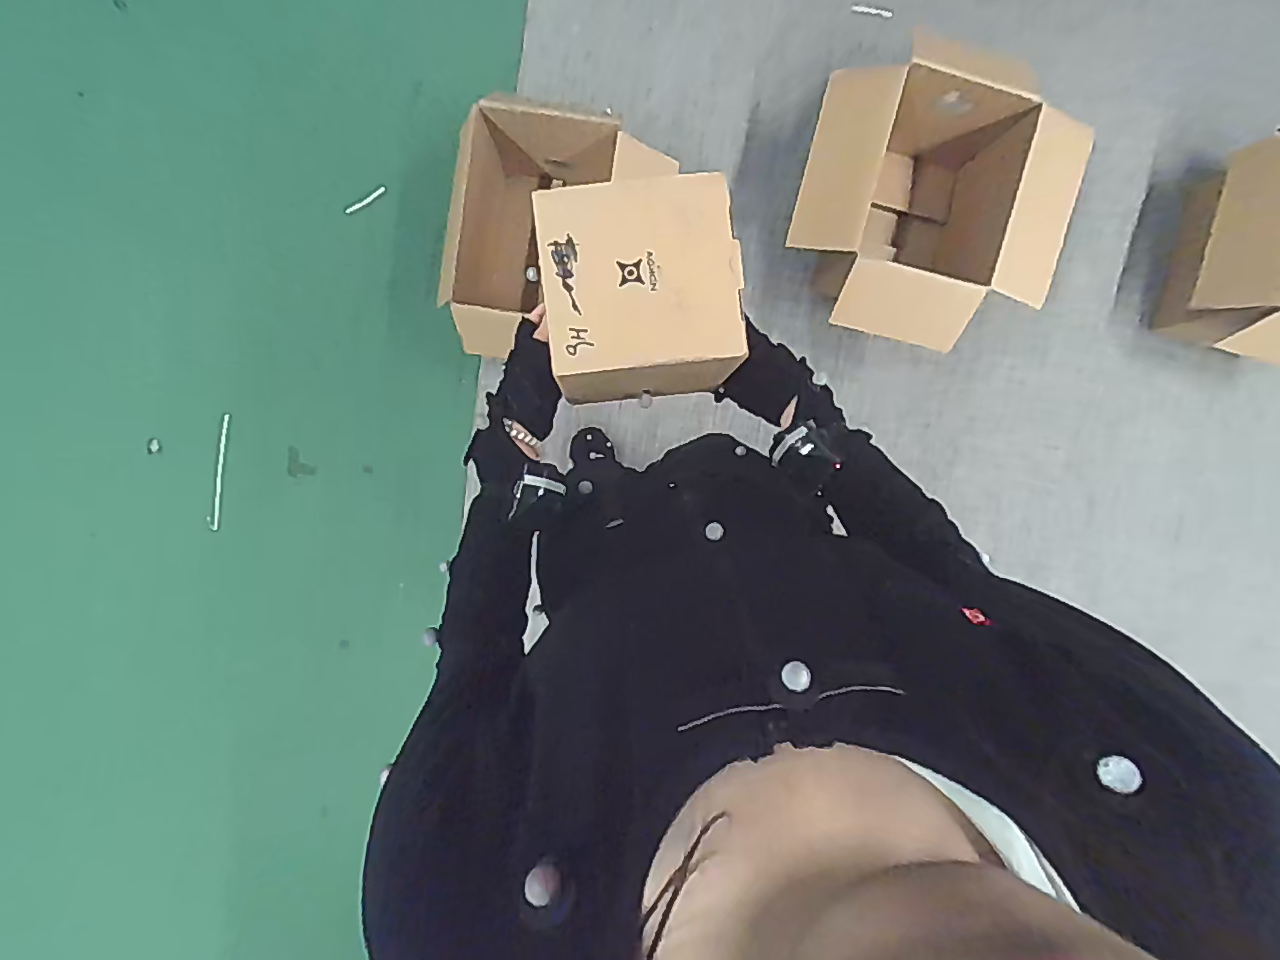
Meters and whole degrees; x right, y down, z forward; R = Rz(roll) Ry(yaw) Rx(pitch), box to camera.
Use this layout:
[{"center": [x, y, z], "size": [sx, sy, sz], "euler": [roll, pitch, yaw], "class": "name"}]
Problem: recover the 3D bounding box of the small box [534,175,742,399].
[{"center": [-0.006, -0.184, 0.559], "size": [0.179, 0.176, 0.168], "euler": [-6, 89, -3], "class": "small box"}]
